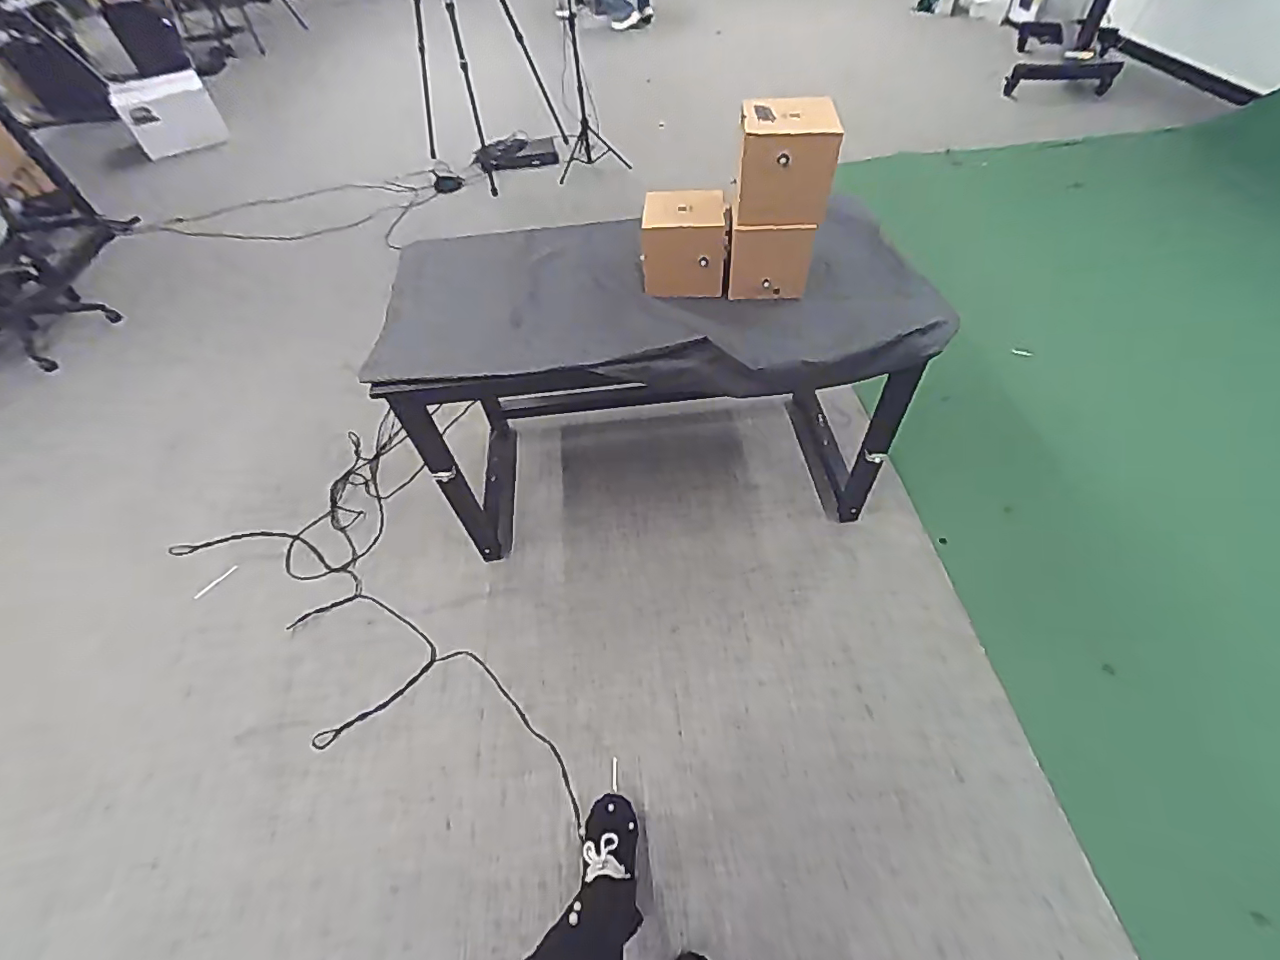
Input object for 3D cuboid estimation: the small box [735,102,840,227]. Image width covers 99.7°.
[{"bbox_3d":[0.281,-0.622,1.074,0.179,0.176,0.168,2,53,6],"label":"small box"}]
